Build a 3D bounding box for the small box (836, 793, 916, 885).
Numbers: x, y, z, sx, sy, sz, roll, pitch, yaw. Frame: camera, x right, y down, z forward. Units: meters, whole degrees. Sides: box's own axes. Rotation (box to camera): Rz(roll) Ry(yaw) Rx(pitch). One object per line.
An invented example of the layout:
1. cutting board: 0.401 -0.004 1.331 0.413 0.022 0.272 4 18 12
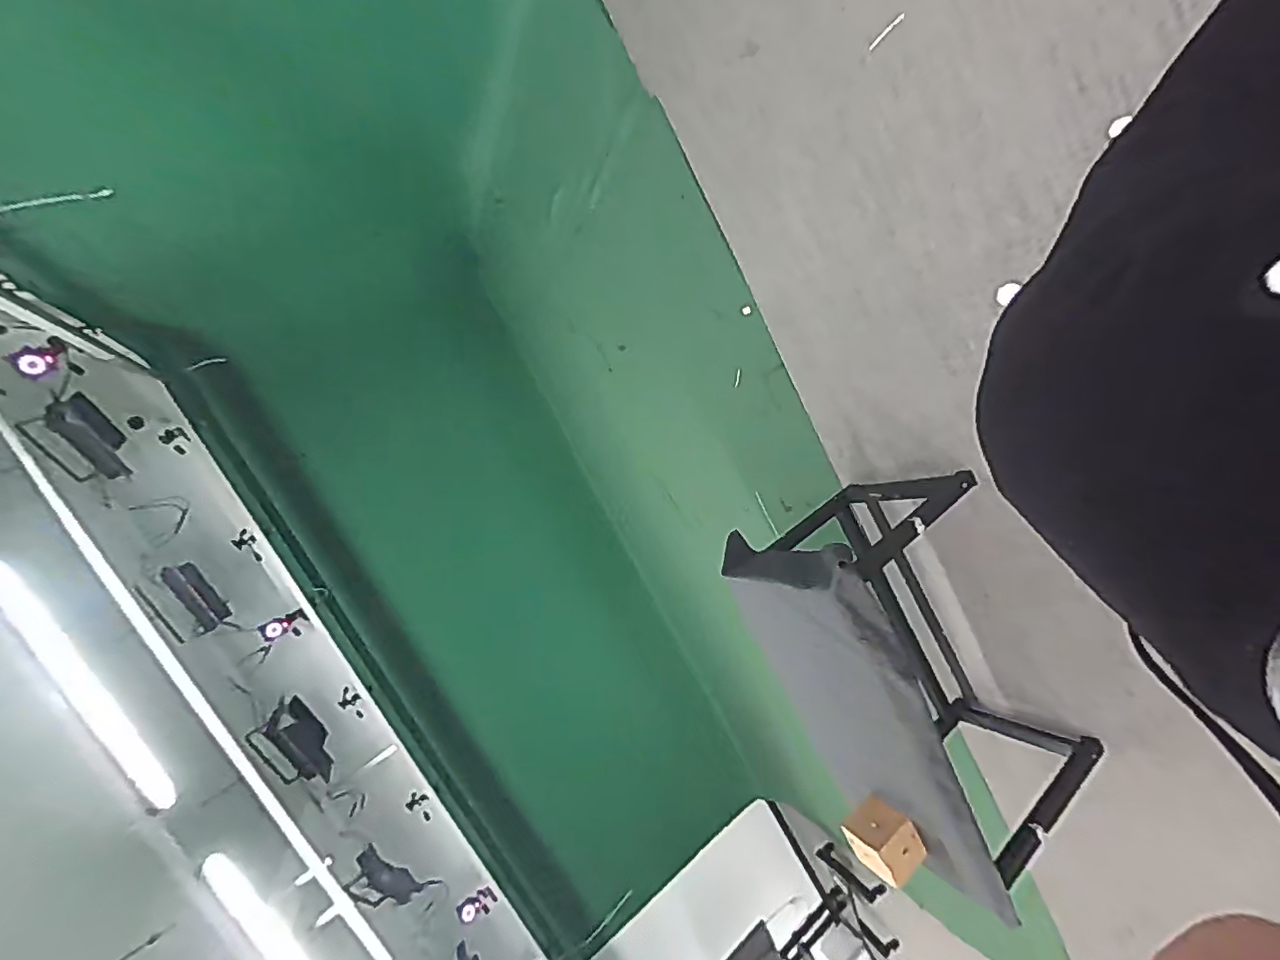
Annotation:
1. small box: 0.836 1.252 1.902 0.168 0.176 0.179 63 157 -9
